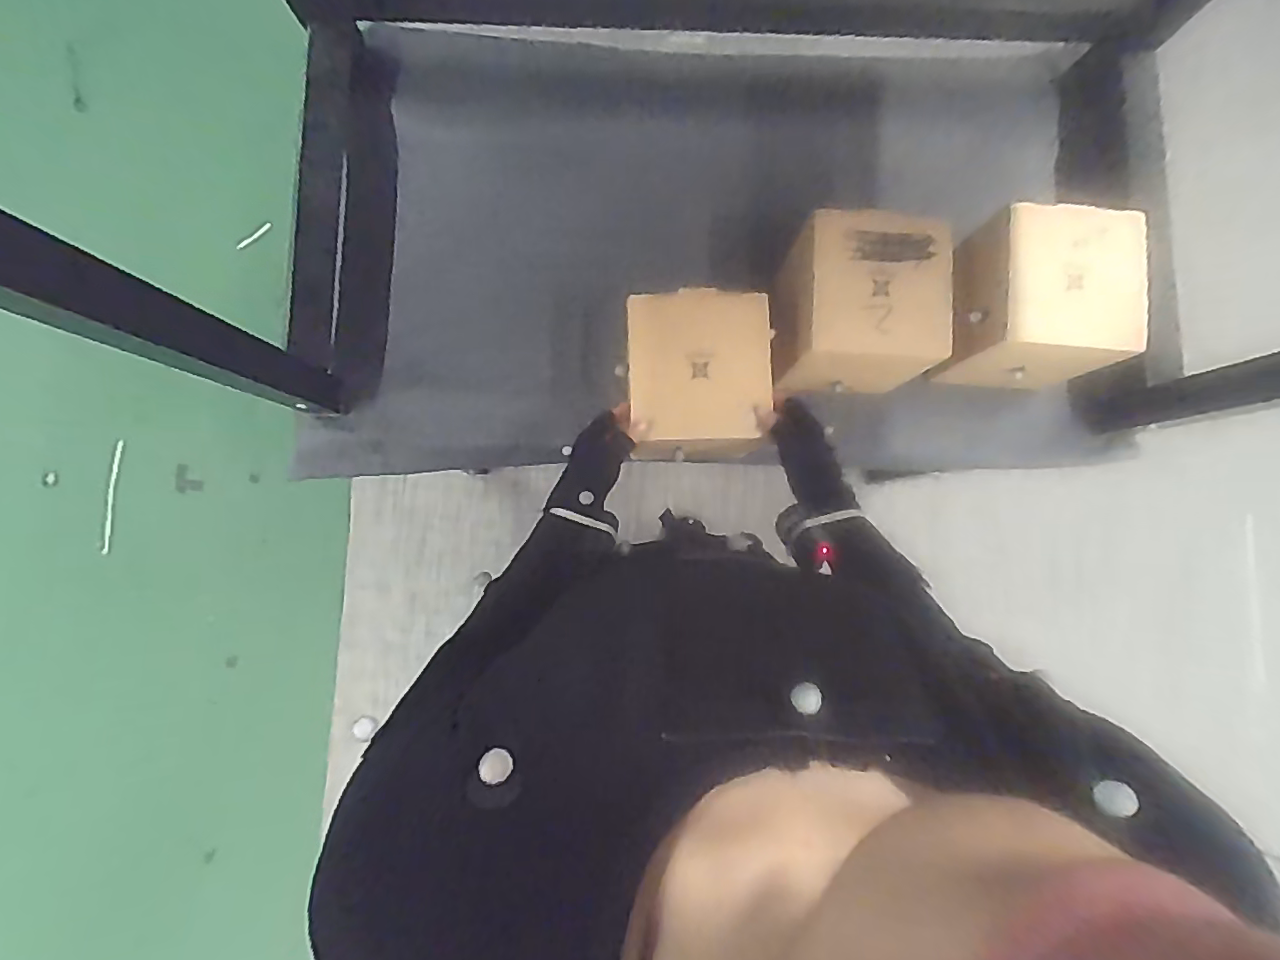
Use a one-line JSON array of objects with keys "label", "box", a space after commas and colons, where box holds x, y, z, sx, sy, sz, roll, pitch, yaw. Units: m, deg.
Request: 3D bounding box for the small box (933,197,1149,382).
[{"label": "small box", "box": [0.514, -0.238, 0.715, 0.168, 0.176, 0.179, 5, 84, 0]}]
